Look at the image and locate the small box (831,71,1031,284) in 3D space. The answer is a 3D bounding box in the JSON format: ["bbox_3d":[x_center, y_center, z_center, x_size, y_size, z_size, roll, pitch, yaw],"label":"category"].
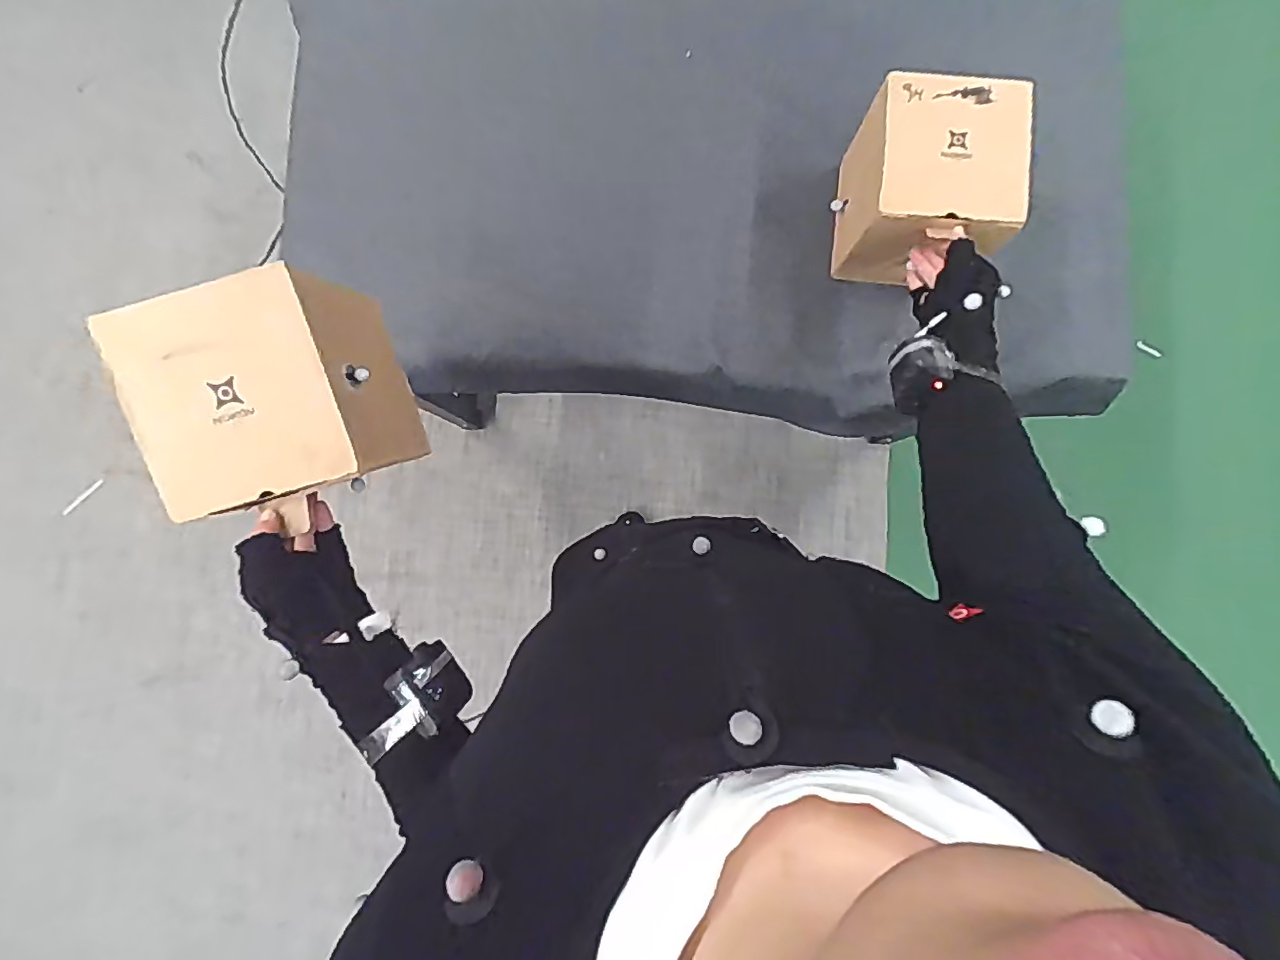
[{"bbox_3d":[0.357,-0.372,0.695,0.168,0.176,0.179,6,87,1],"label":"small box"}]

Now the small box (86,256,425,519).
[{"bbox_3d":[-0.328,-0.082,0.507,0.168,0.176,0.179,-16,98,0],"label":"small box"}]
